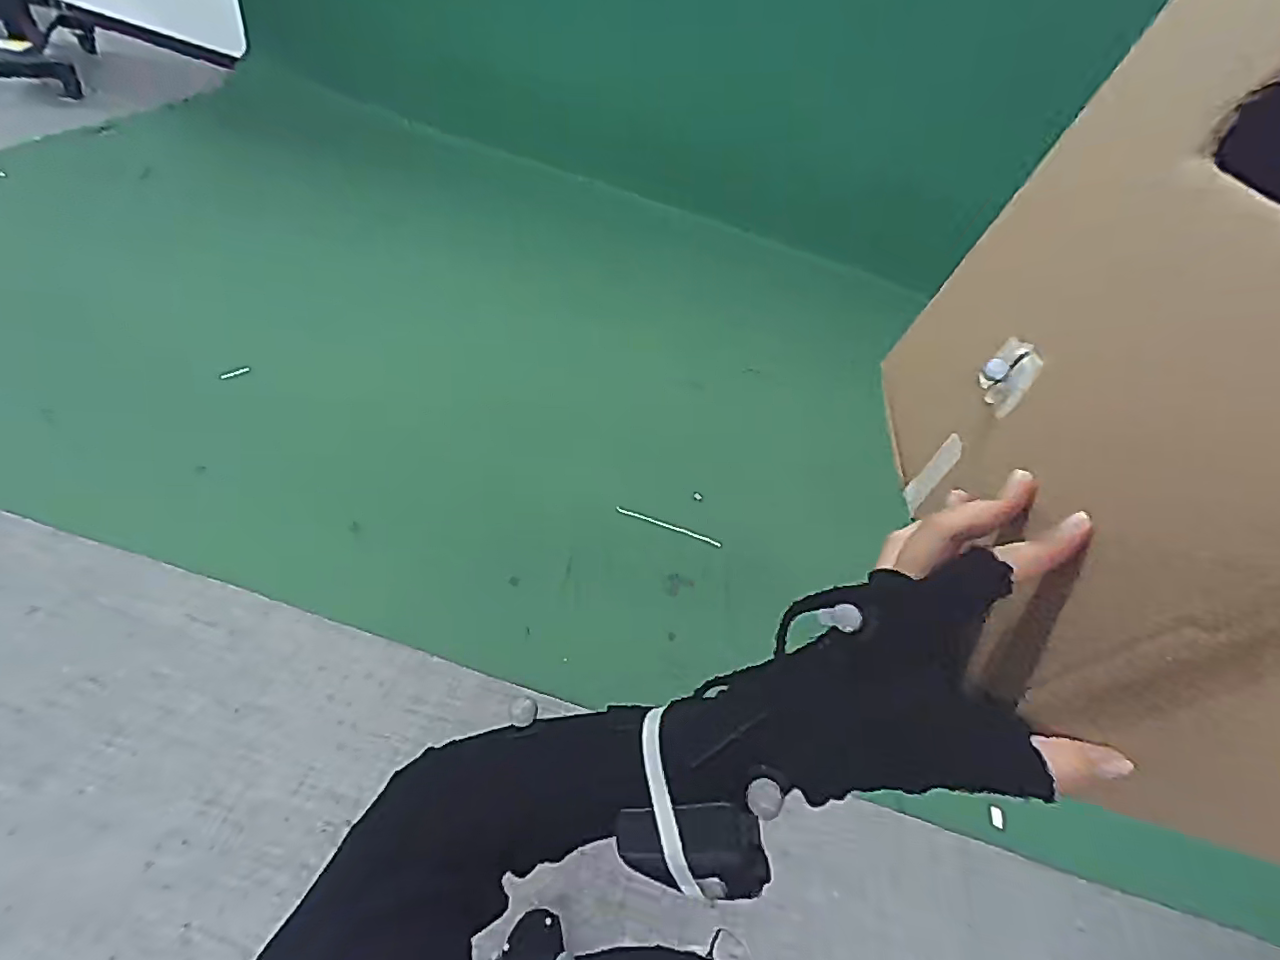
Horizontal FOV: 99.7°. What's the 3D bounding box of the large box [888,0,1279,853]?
[{"bbox_3d":[0.407,-0.007,0.263,0.408,0.320,0.320,20,47,-6],"label":"large box"}]
